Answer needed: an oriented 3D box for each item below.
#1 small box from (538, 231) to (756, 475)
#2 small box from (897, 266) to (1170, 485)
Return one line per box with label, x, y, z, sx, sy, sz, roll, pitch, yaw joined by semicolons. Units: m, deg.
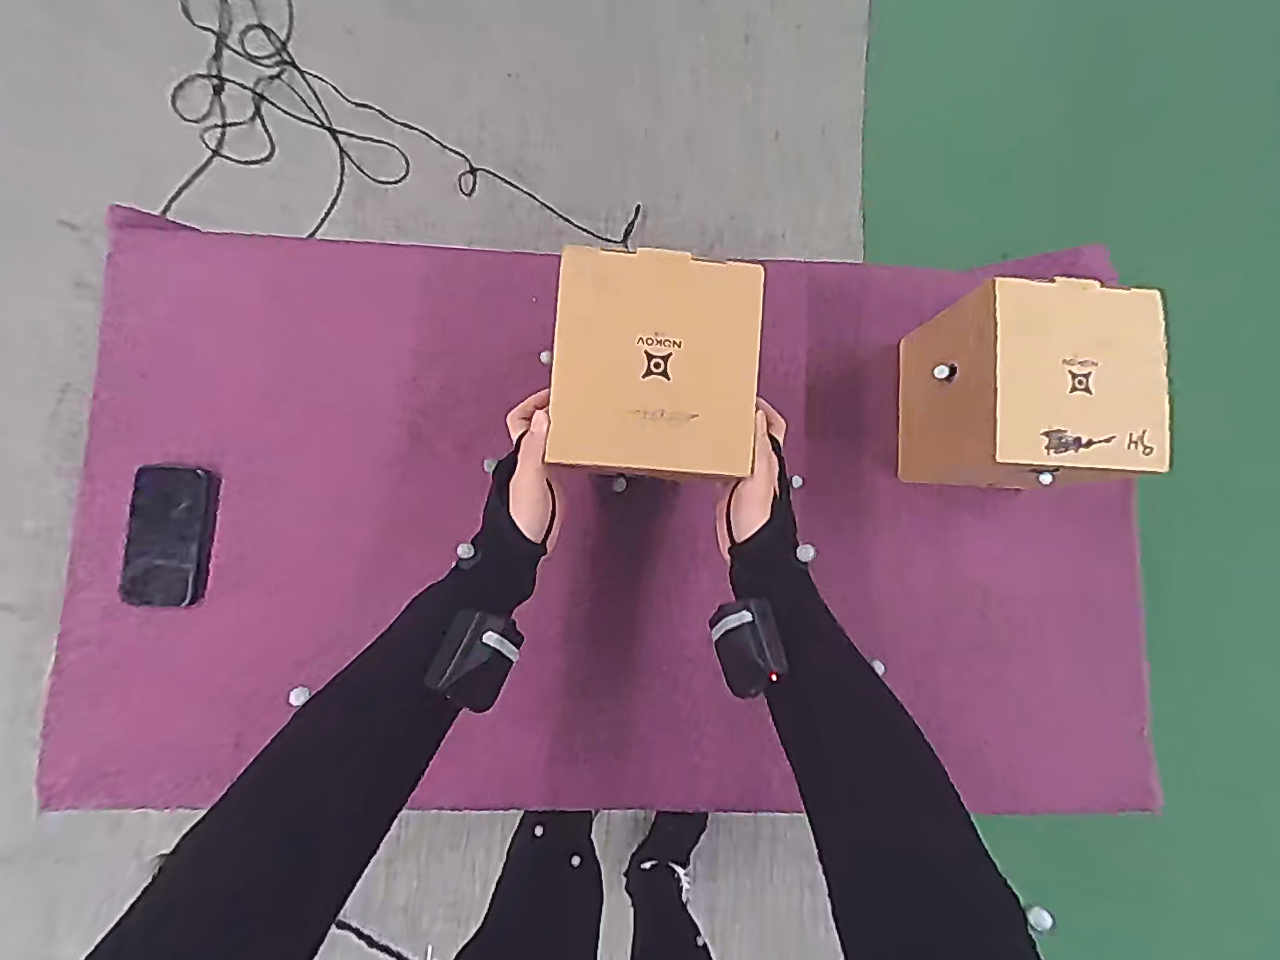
small box;0.001;-0.101;0.505;0.168;0.176;0.179;4;88;-4
small box;0.389;-0.095;0.566;0.168;0.176;0.179;3;83;-2
